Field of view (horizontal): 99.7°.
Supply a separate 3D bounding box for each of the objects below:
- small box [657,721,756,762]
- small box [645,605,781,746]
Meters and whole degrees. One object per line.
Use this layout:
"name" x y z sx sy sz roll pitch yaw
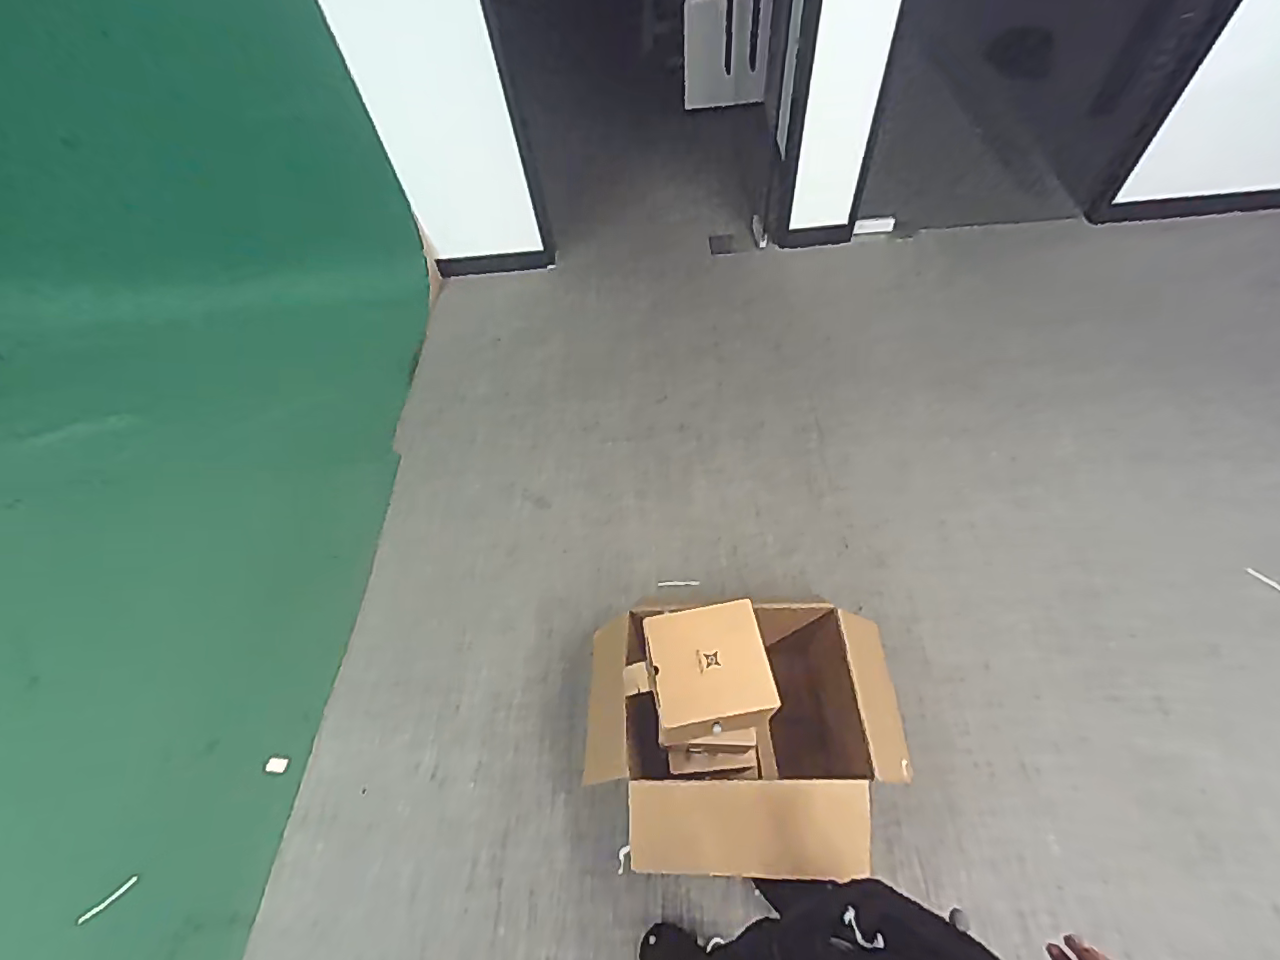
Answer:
"small box" 0.118 0.416 1.006 0.168 0.176 0.179 1 58 3
"small box" 0.108 0.320 0.875 0.179 0.176 0.168 -10 57 -3
